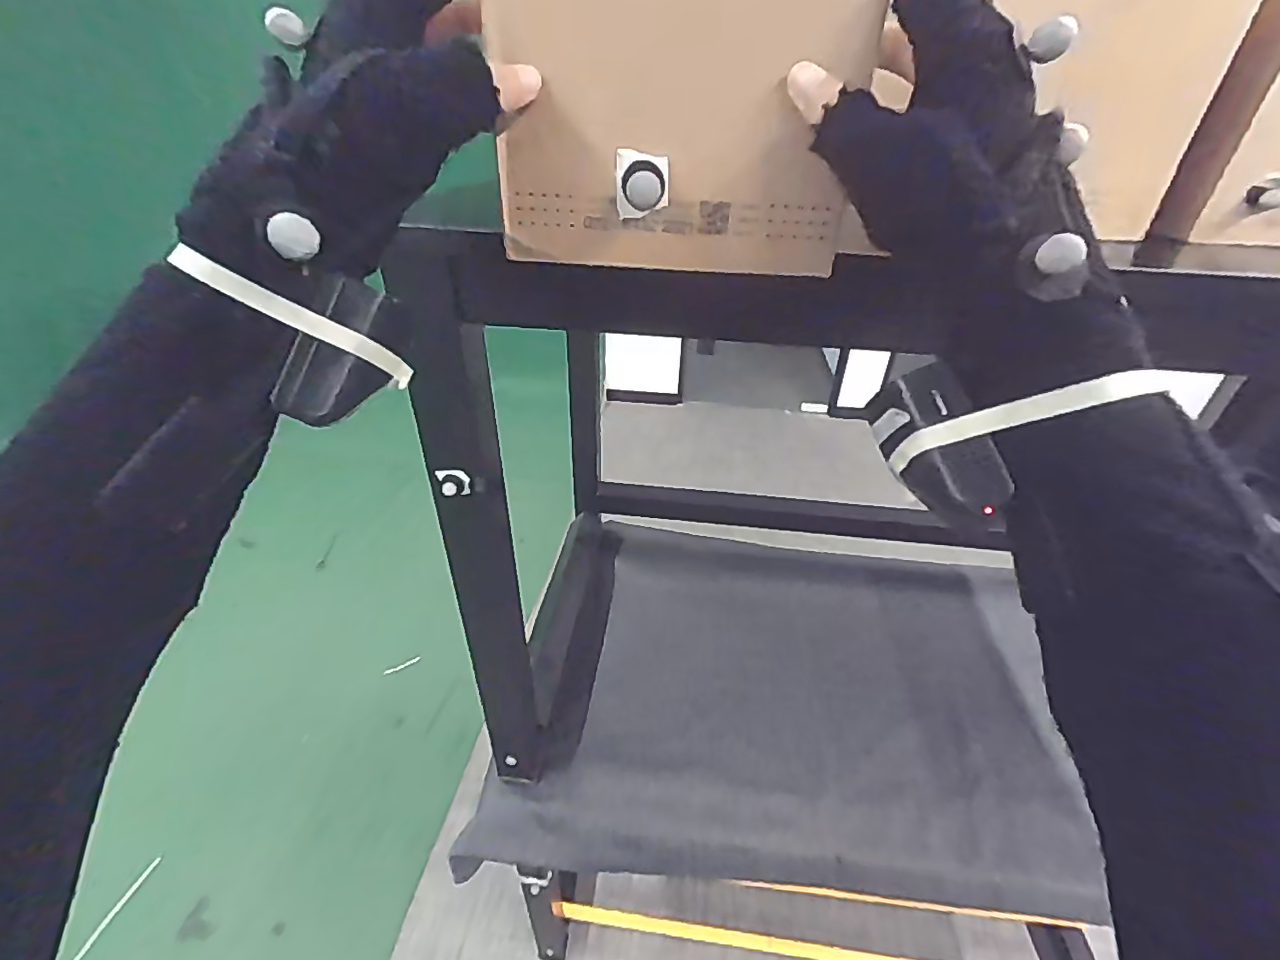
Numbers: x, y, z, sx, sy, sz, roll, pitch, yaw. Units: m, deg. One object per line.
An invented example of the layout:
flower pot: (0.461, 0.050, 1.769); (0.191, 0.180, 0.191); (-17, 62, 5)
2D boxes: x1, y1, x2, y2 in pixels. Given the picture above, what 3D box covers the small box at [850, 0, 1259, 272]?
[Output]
small box: (0.280, -0.273, 0.421); (0.168, 0.176, 0.179); (5, 35, 3)
